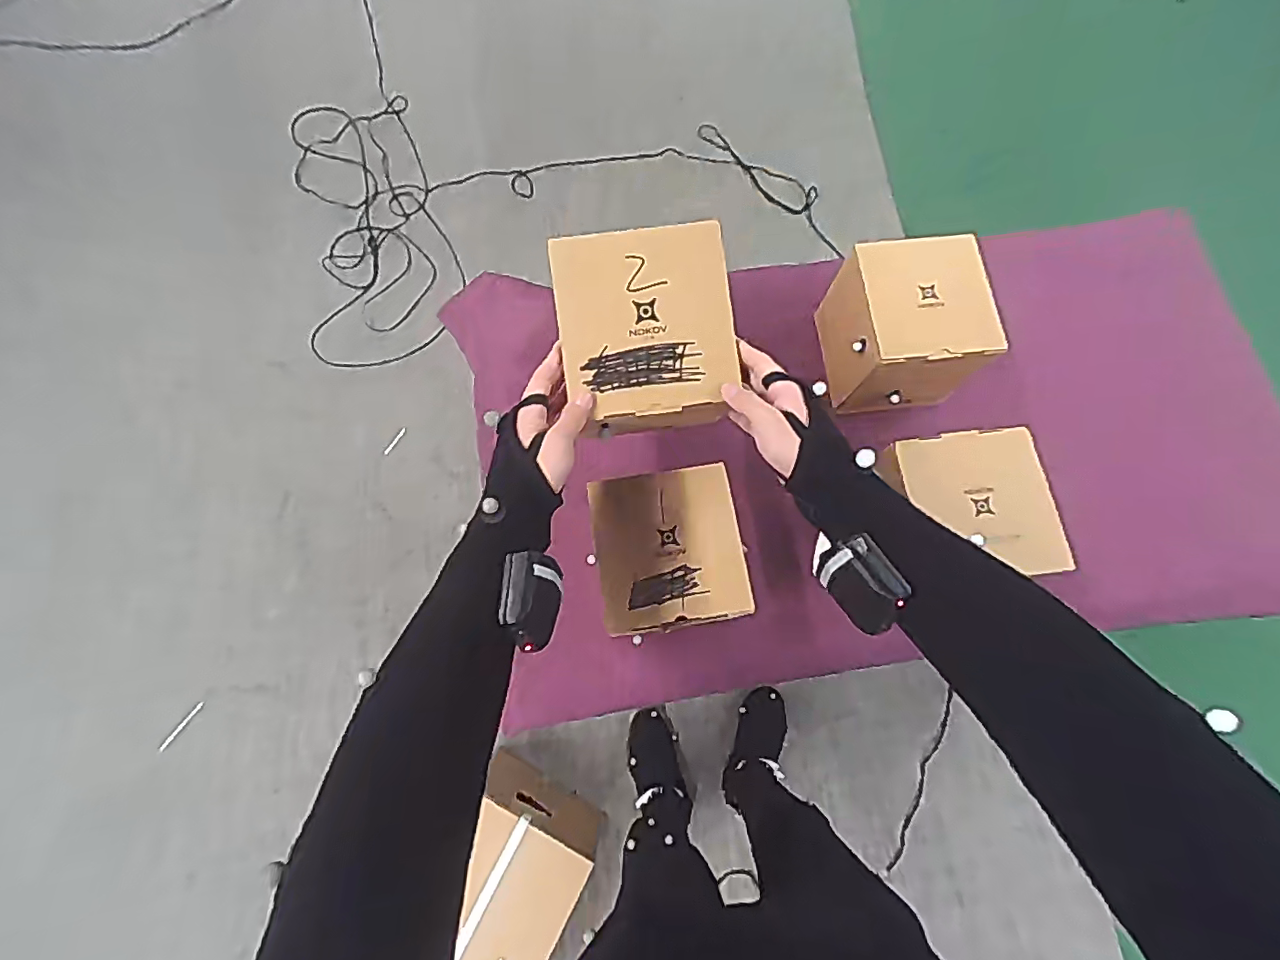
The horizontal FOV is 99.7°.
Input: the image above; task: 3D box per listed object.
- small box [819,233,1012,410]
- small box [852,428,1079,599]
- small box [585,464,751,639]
[{"bbox_3d":[0.368,-0.214,0.760,0.168,0.176,0.179,-5,76,-2],"label":"small box"},{"bbox_3d":[0.389,0.050,0.685,0.168,0.176,0.179,-6,74,-1],"label":"small box"},{"bbox_3d":[0.029,0.096,0.673,0.168,0.176,0.179,-8,73,-2],"label":"small box"}]
